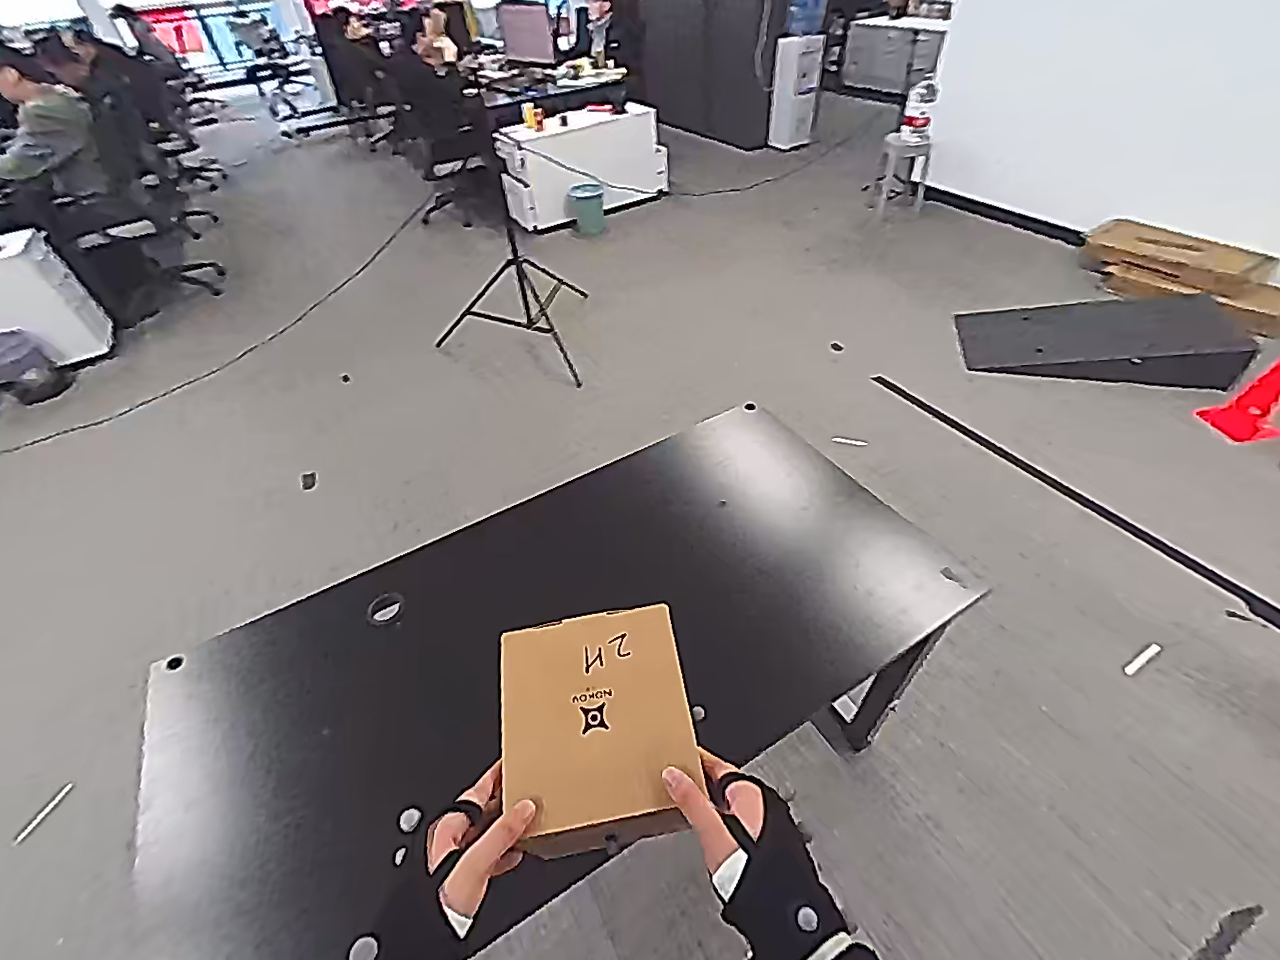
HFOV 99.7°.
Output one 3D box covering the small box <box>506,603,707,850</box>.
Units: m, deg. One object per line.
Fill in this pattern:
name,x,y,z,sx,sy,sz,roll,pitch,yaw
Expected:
small box,-0.030,0.251,0.540,0.168,0.176,0.179,-10,50,-3
